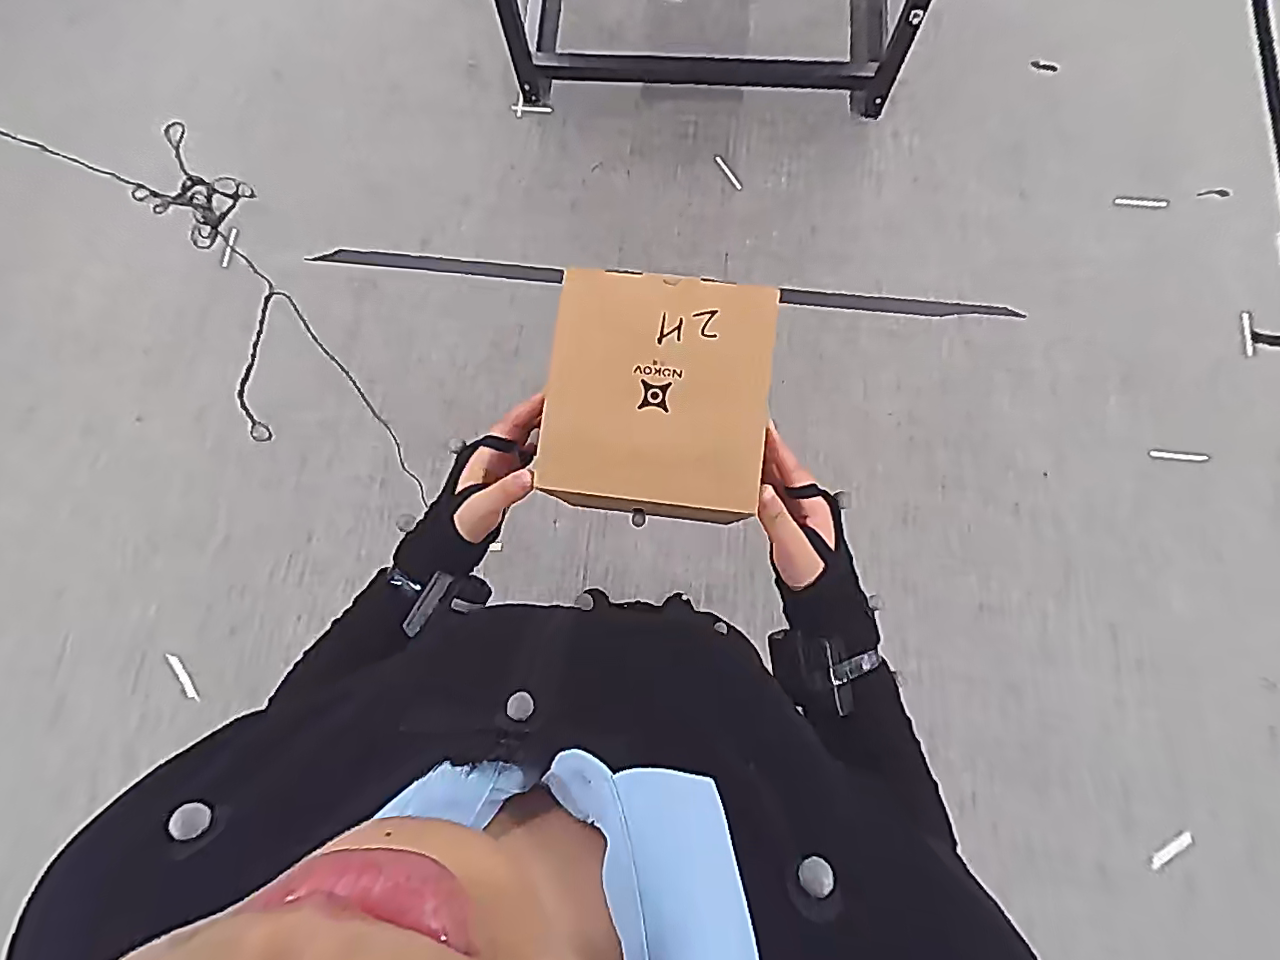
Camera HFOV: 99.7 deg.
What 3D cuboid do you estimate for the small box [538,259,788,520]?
[{"bbox_3d":[0.021,-0.062,0.471,0.168,0.176,0.179,7,83,2],"label":"small box"}]
